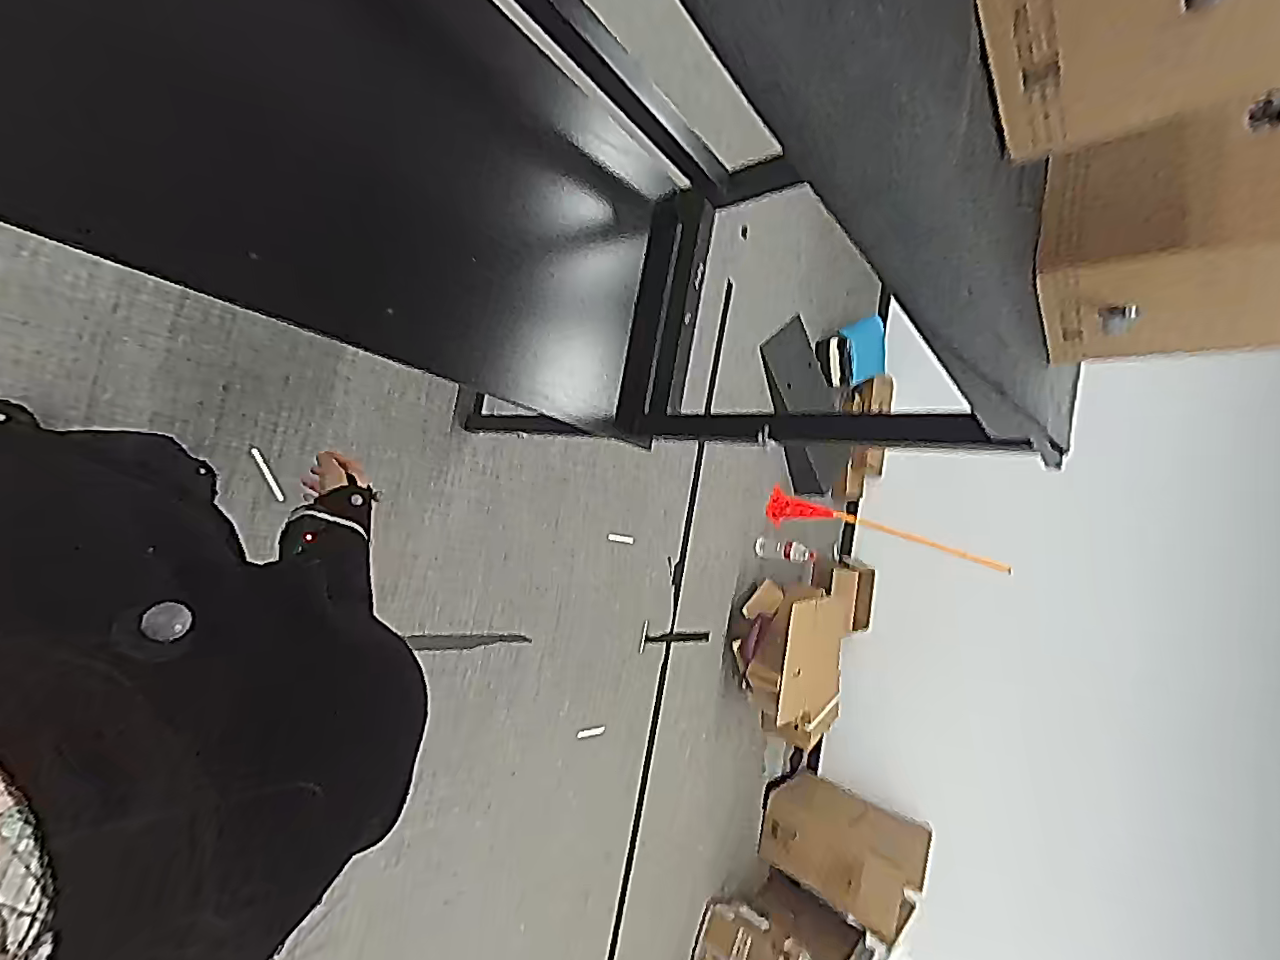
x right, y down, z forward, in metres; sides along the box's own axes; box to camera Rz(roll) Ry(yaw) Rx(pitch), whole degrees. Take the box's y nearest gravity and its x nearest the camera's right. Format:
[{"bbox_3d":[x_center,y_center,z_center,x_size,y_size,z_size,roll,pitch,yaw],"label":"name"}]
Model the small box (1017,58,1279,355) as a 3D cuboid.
[{"bbox_3d":[0.432,-0.223,0.456,0.168,0.176,0.179,24,76,-46],"label":"small box"}]
